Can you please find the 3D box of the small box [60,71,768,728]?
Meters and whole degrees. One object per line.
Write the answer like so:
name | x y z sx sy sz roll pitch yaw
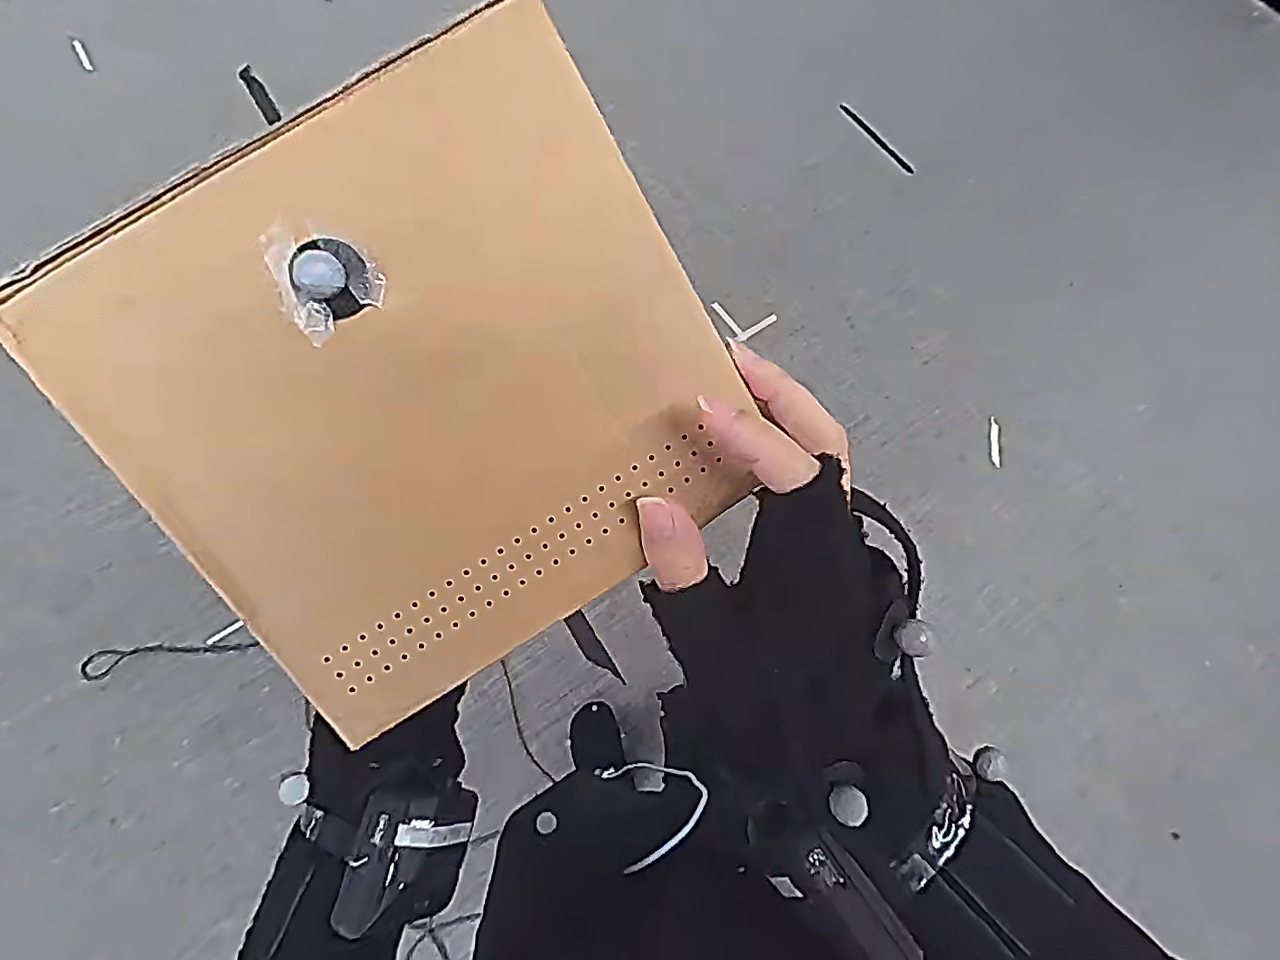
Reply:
small box | -0.072 -0.026 0.257 0.179 0.168 0.176 -32 103 -2
